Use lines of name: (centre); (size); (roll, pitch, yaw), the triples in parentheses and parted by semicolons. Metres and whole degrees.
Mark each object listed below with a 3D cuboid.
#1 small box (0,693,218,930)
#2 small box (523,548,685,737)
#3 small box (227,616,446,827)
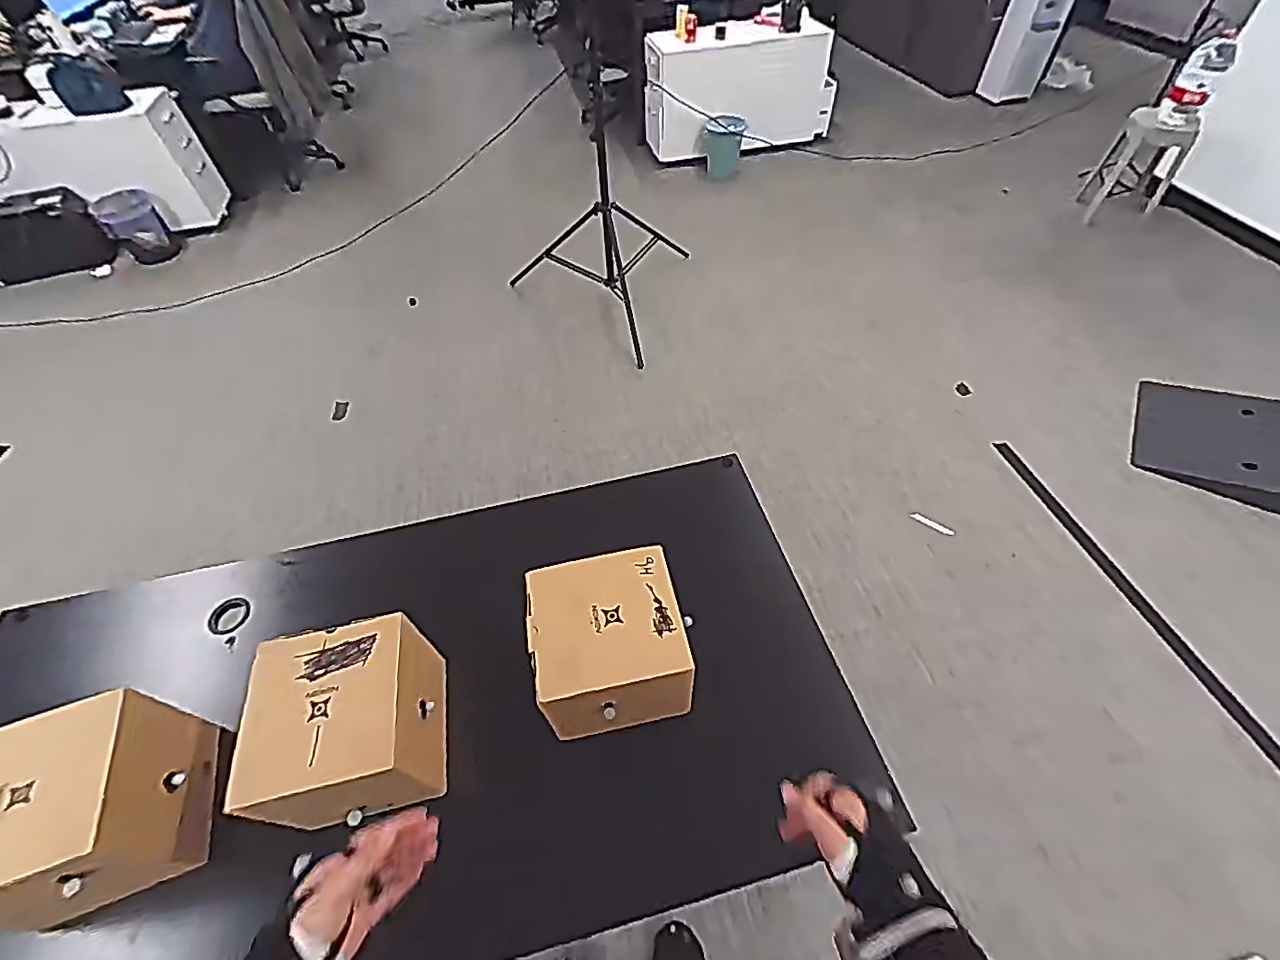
small box: (-0.618, 0.369, 0.605); (0.179, 0.176, 0.168); (-19, 53, -11)
small box: (-0.042, 0.215, 0.700); (0.179, 0.176, 0.168); (-11, 52, -5)
small box: (-0.343, 0.293, 0.653); (0.168, 0.176, 0.179); (-12, 53, -6)
